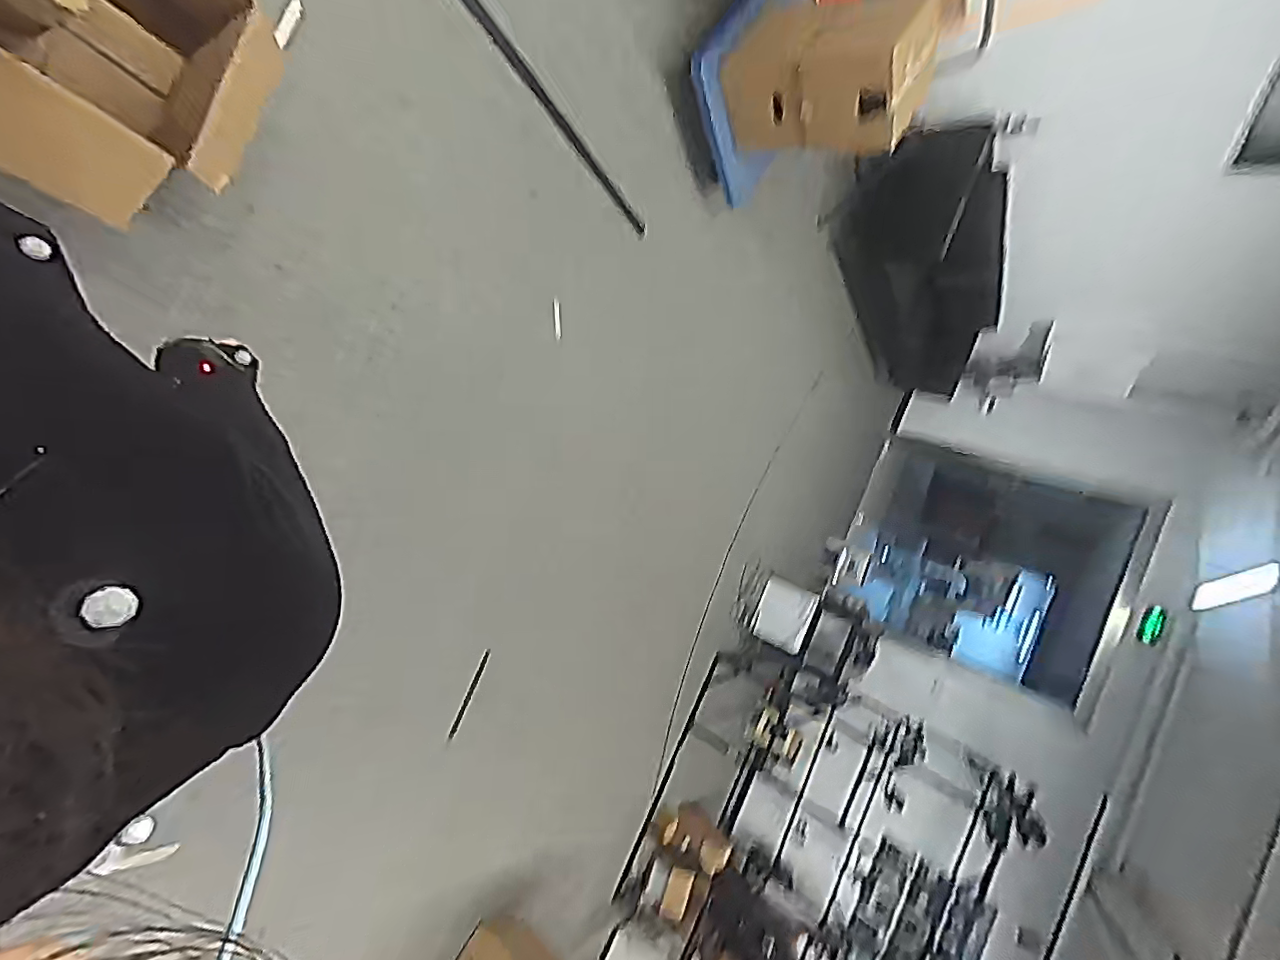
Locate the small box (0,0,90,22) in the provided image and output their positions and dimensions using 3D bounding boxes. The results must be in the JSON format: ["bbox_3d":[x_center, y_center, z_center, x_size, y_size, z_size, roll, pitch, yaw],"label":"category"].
[{"bbox_3d":[-0.847,-0.729,0.693,0.179,0.176,0.168,-8,117,-55],"label":"small box"}]
